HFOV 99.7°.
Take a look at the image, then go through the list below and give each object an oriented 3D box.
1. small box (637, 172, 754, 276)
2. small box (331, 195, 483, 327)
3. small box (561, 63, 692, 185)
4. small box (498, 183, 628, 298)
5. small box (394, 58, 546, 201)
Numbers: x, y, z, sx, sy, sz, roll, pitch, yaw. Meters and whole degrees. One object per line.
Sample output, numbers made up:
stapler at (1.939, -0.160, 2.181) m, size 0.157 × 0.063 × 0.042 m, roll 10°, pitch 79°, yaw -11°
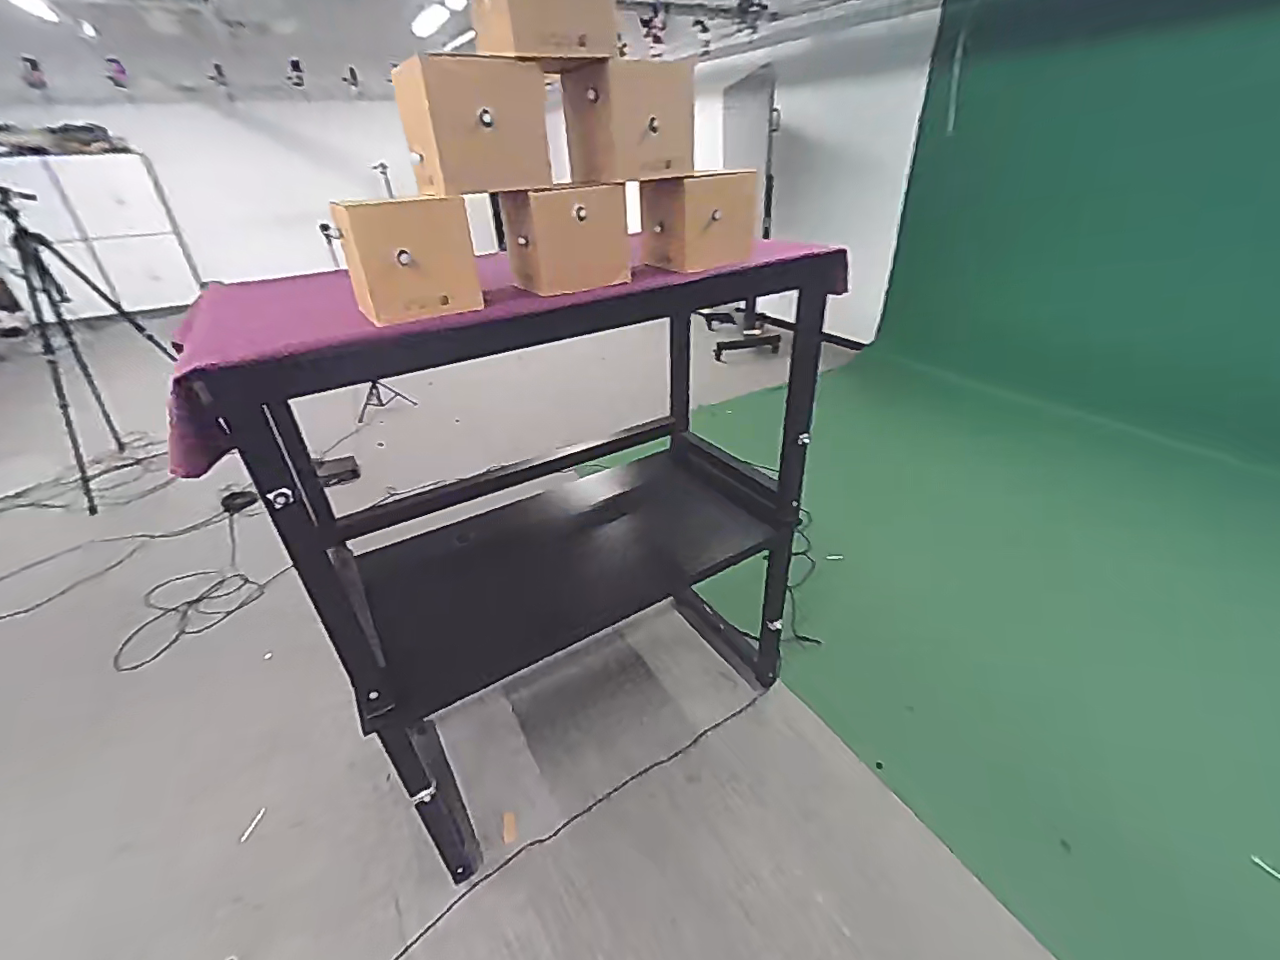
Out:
small box at (0.114, -0.524, 1.102) m, size 0.179 × 0.176 × 0.168 m, roll -22°, pitch 37°, yaw -25°
small box at (-0.366, -0.349, 0.858) m, size 0.168 × 0.176 × 0.179 m, roll -20°, pitch 34°, yaw -27°
small box at (-0.020, -0.619, 0.954) m, size 0.168 × 0.176 × 0.179 m, roll -21°, pitch 35°, yaw -26°
small box at (-0.135, -0.435, 0.978) m, size 0.179 × 0.176 × 0.168 m, roll -19°, pitch 34°, yaw -25°
small box at (-0.257, -0.538, 0.842) m, size 0.179 × 0.176 × 0.168 m, roll -21°, pitch 35°, yaw -26°
